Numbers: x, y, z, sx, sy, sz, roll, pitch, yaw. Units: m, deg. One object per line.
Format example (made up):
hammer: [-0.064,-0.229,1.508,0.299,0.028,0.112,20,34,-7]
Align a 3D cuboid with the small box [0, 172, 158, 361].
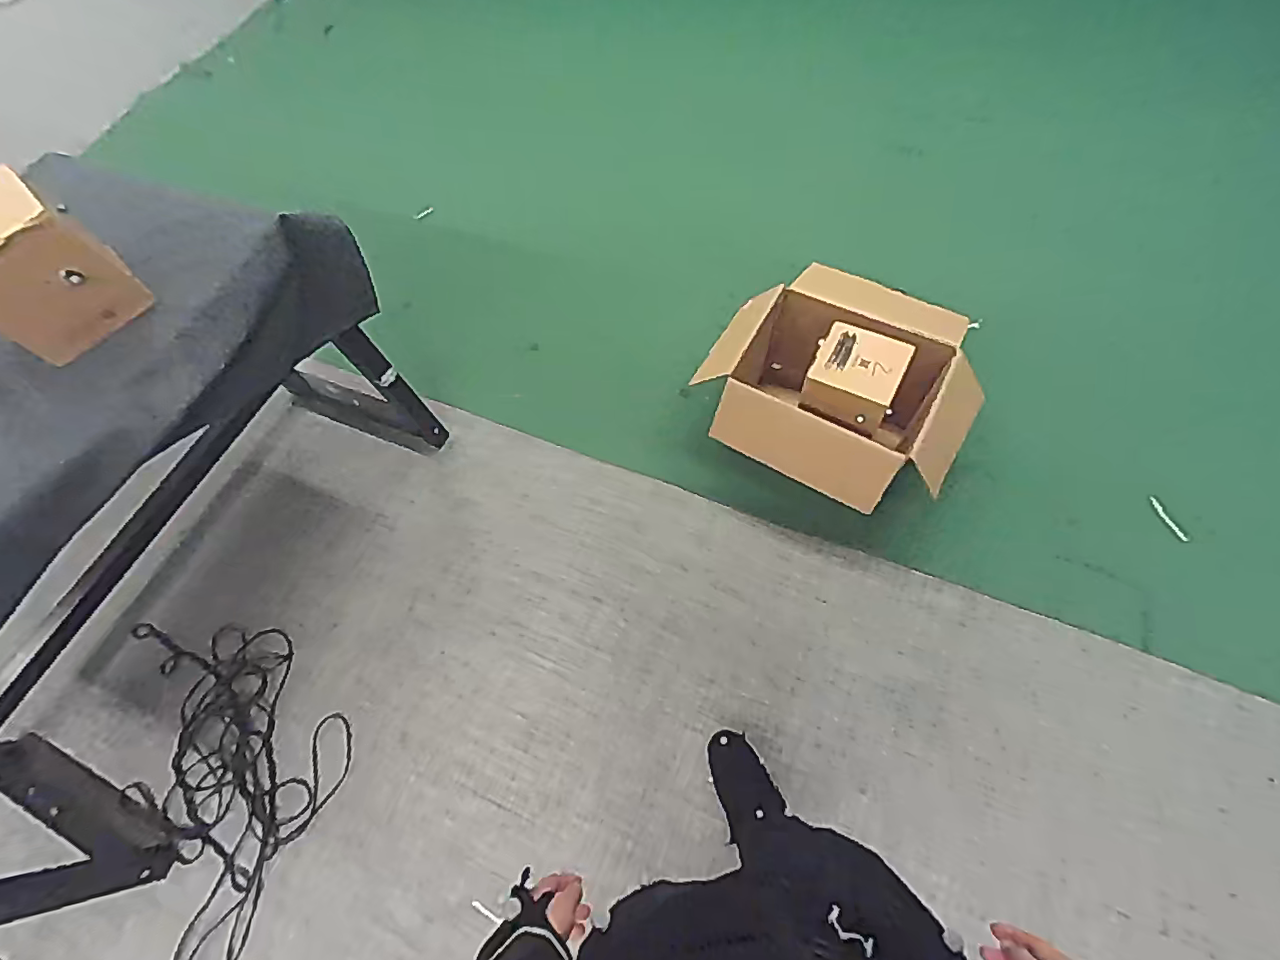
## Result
small box: [-0.877,-0.304,0.796,0.179,0.176,0.168,37,73,22]
